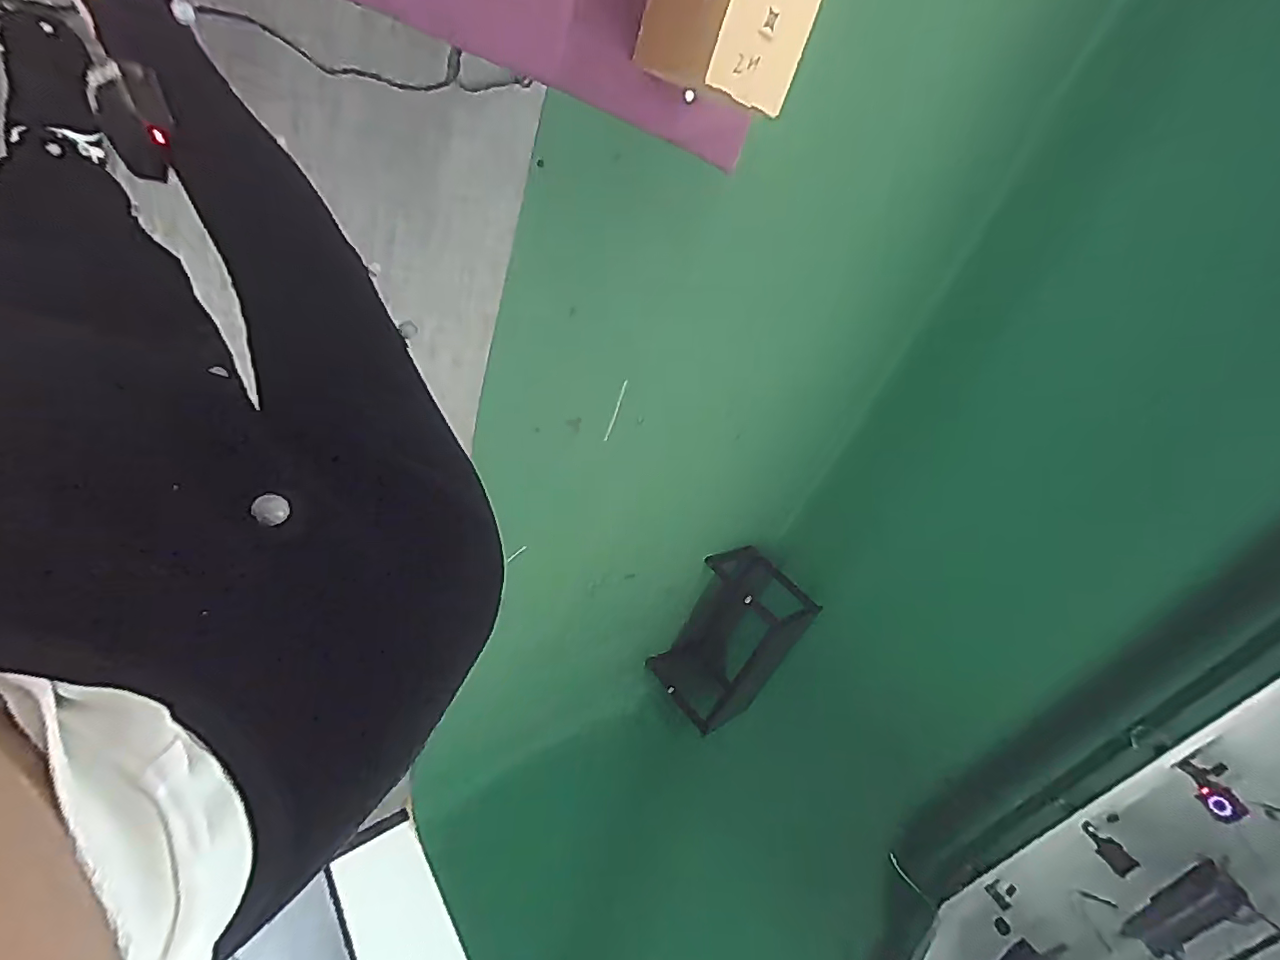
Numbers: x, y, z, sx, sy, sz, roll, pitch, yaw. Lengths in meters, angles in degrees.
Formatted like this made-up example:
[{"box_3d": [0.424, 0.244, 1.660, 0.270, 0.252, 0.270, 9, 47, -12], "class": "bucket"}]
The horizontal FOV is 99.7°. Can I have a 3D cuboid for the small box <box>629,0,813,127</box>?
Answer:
[{"box_3d": [0.109, -0.650, 0.779, 0.168, 0.176, 0.179, -10, 134, -41], "class": "small box"}]
